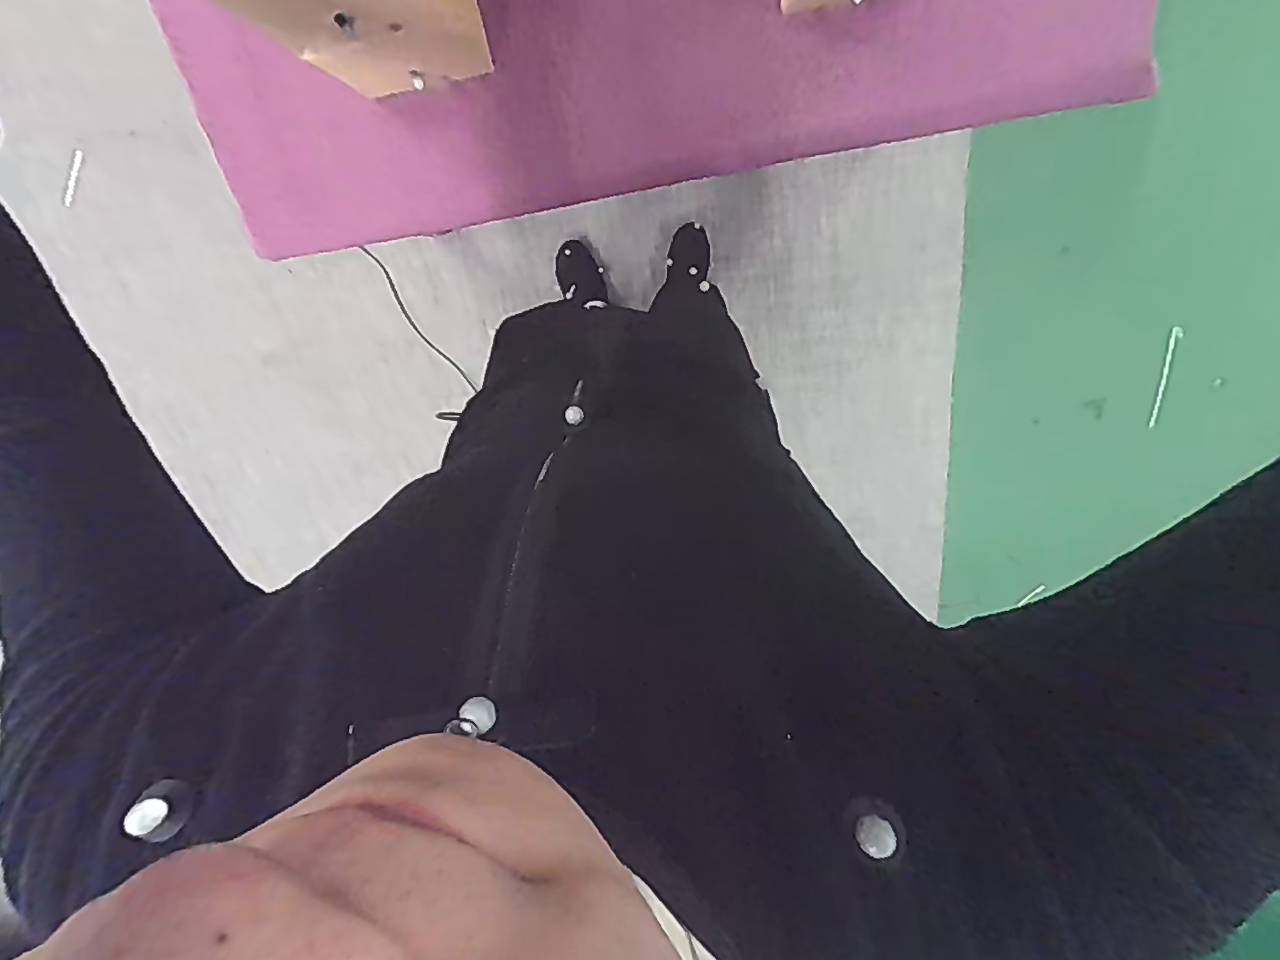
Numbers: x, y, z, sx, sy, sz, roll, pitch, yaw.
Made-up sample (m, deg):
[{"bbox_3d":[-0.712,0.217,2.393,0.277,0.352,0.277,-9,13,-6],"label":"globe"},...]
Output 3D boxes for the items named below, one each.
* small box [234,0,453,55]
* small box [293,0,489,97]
[{"bbox_3d":[-0.271,-0.481,0.426,0.168,0.176,0.179,-12,114,2],"label":"small box"},{"bbox_3d":[-0.278,-0.545,0.576,0.168,0.176,0.179,-11,114,2],"label":"small box"}]
